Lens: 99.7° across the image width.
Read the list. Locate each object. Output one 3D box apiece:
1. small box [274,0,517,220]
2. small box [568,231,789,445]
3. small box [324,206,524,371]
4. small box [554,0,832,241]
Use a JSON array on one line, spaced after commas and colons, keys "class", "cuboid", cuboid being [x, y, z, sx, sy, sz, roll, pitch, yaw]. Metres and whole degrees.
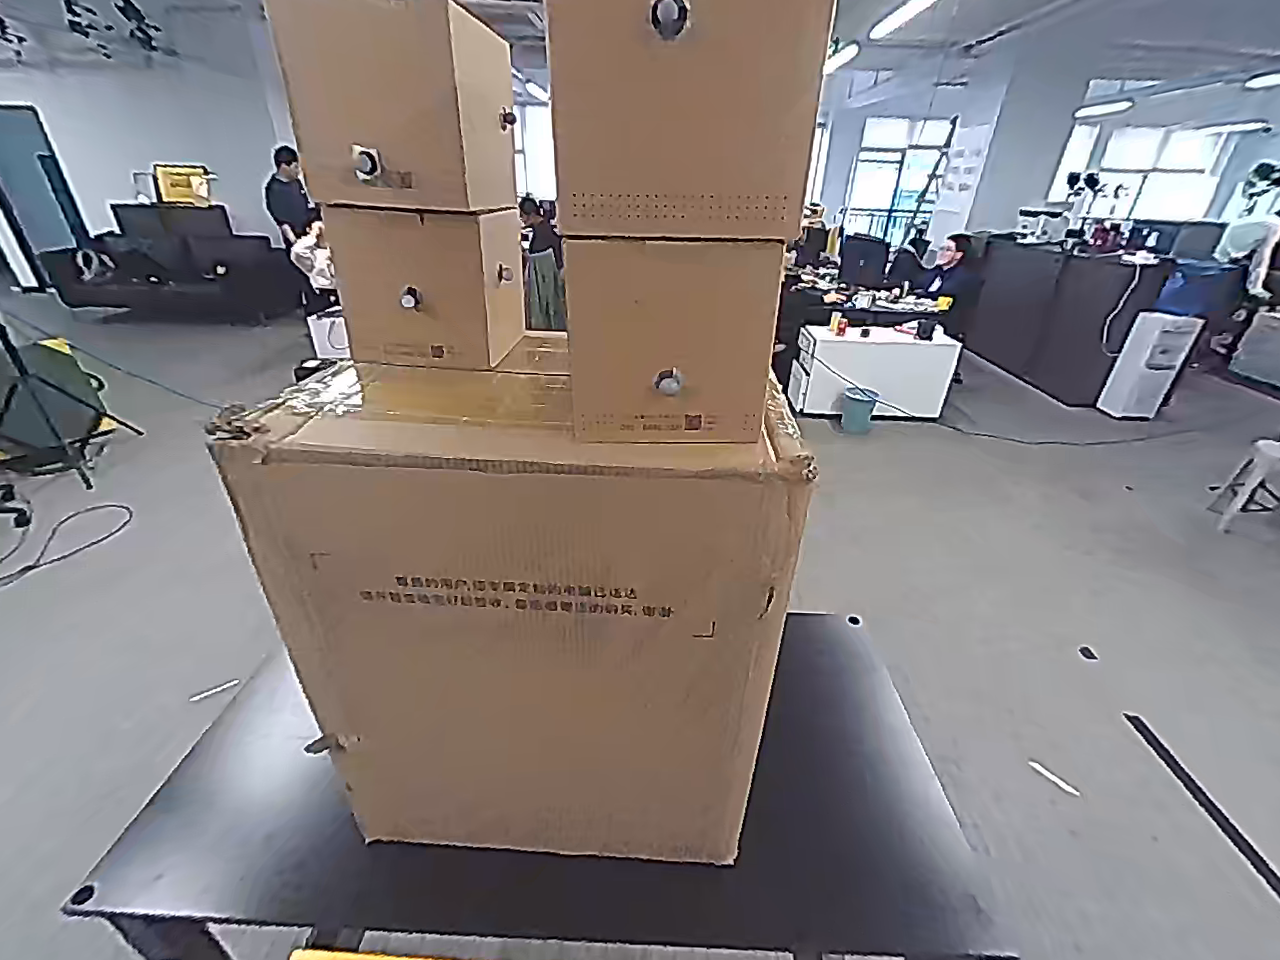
[{"class": "small box", "cuboid": [-0.232, -0.374, 0.566, 0.168, 0.176, 0.179, 4, 29, 3]}, {"class": "small box", "cuboid": [0.027, -0.145, 0.506, 0.168, 0.176, 0.179, 0, 30, 0]}, {"class": "small box", "cuboid": [-0.241, -0.239, 0.659, 0.168, 0.176, 0.179, 4, 29, 1]}, {"class": "small box", "cuboid": [0.035, -0.281, 0.414, 0.179, 0.176, 0.168, 2, 30, 1]}]
